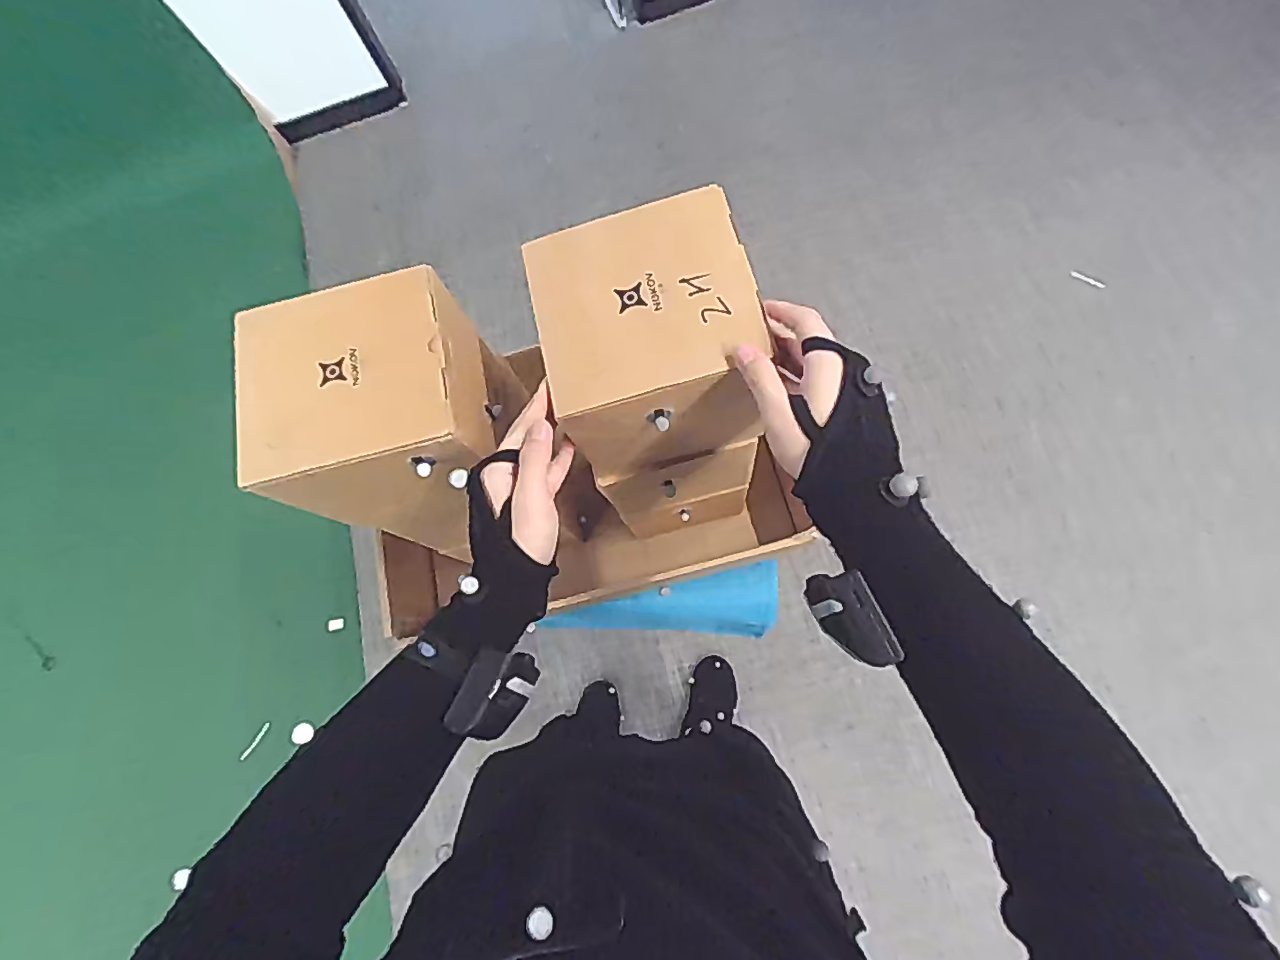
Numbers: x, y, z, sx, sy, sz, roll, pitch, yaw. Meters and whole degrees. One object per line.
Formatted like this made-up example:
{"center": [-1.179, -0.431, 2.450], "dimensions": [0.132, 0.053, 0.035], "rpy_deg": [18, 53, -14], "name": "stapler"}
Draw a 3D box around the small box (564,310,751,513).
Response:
{"center": [0.028, -0.069, 0.658], "dimensions": [0.179, 0.176, 0.168], "rpy_deg": [-17, 73, 5], "name": "small box"}
